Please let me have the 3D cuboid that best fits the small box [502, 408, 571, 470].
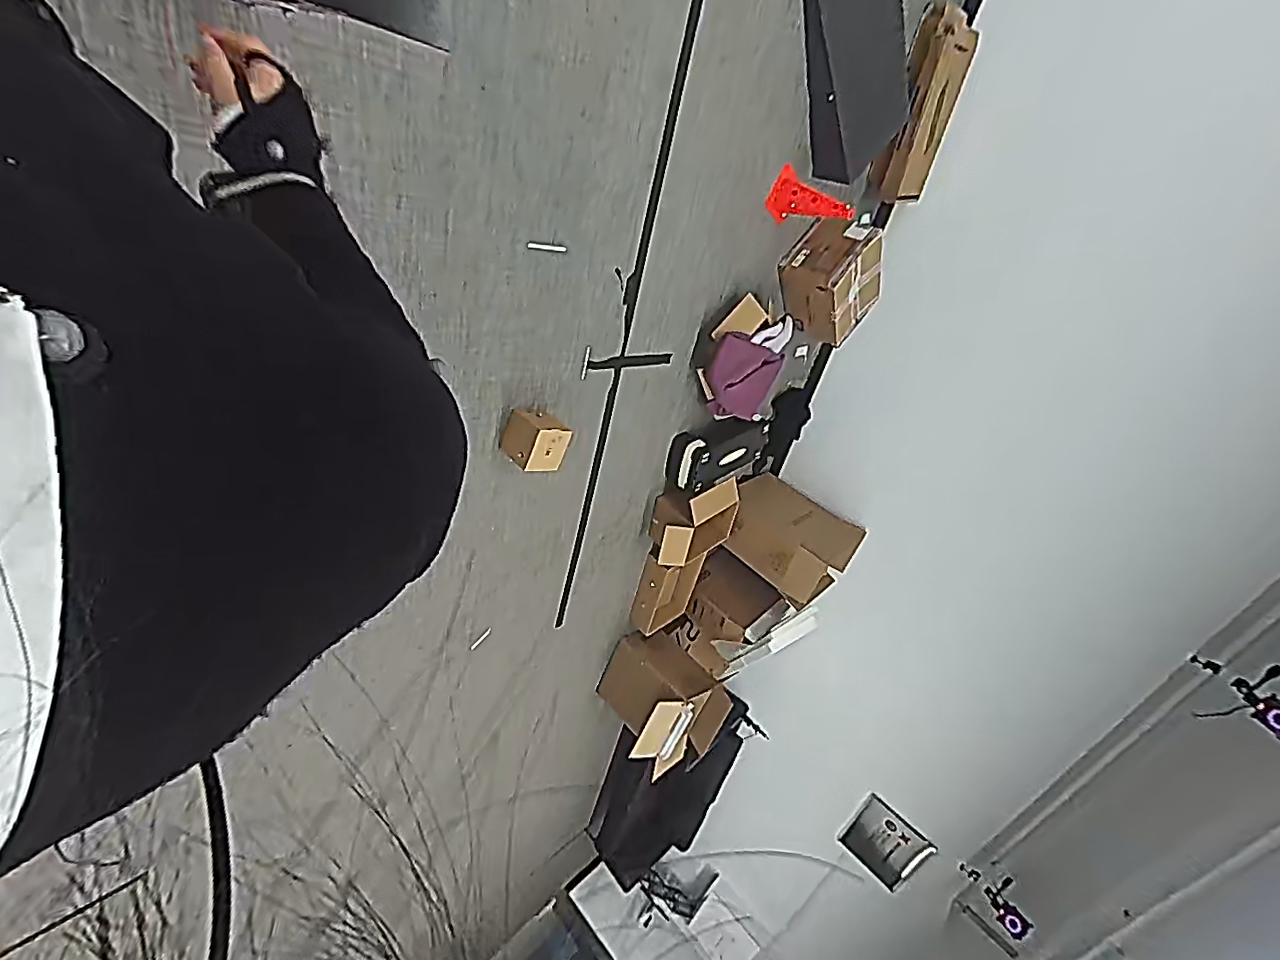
[{"bbox_3d":[-0.399,-0.153,2.045,0.168,0.176,0.179,-2,122,-52],"label":"small box"}]
